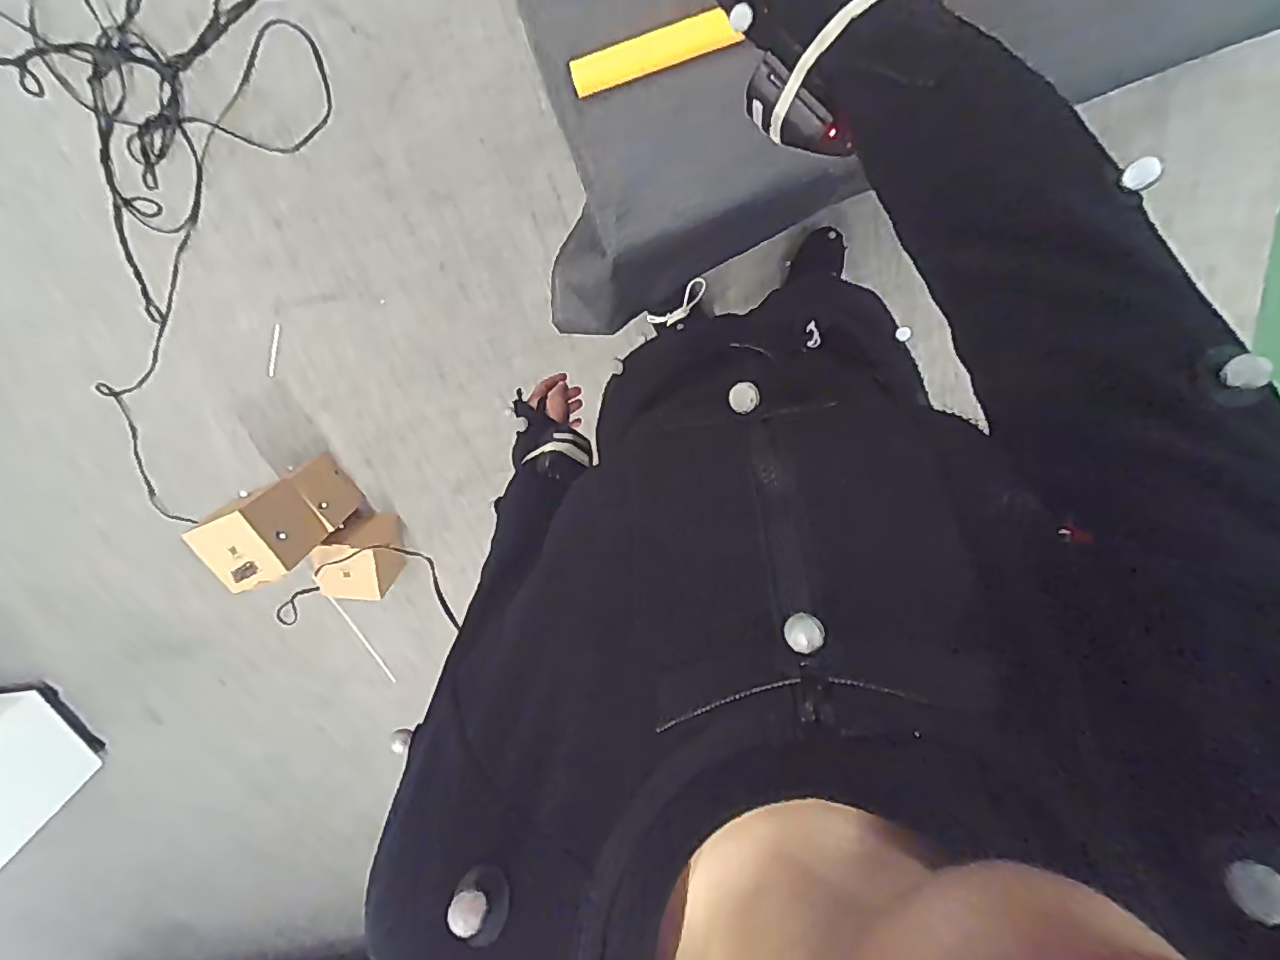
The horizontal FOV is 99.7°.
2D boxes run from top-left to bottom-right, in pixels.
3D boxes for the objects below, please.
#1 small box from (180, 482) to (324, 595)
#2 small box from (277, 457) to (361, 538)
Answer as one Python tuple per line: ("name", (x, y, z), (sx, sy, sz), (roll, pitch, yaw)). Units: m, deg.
("small box", (-0.892, 0.132, 1.265), (0.168, 0.176, 0.179), (-20, 113, 11))
("small box", (-0.878, 0.066, 1.414), (0.179, 0.176, 0.168), (-24, 112, 14))
